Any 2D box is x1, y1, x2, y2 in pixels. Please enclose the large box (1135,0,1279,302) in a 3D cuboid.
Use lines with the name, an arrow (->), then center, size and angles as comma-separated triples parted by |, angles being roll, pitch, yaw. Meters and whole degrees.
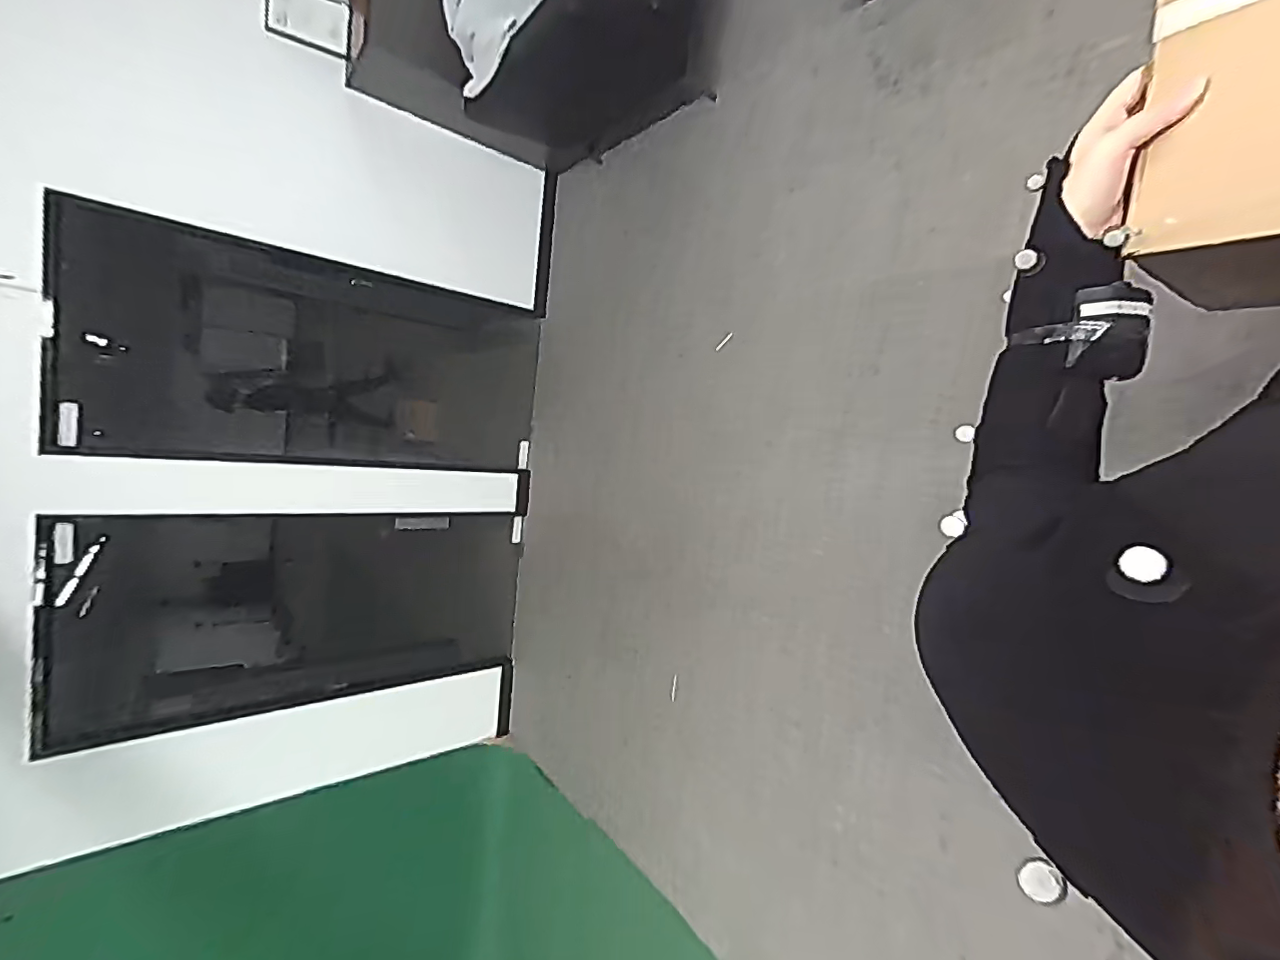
large box -> 0.624, -0.309, 0.323 | 0.408, 0.320, 0.320 | 13, 102, 55
